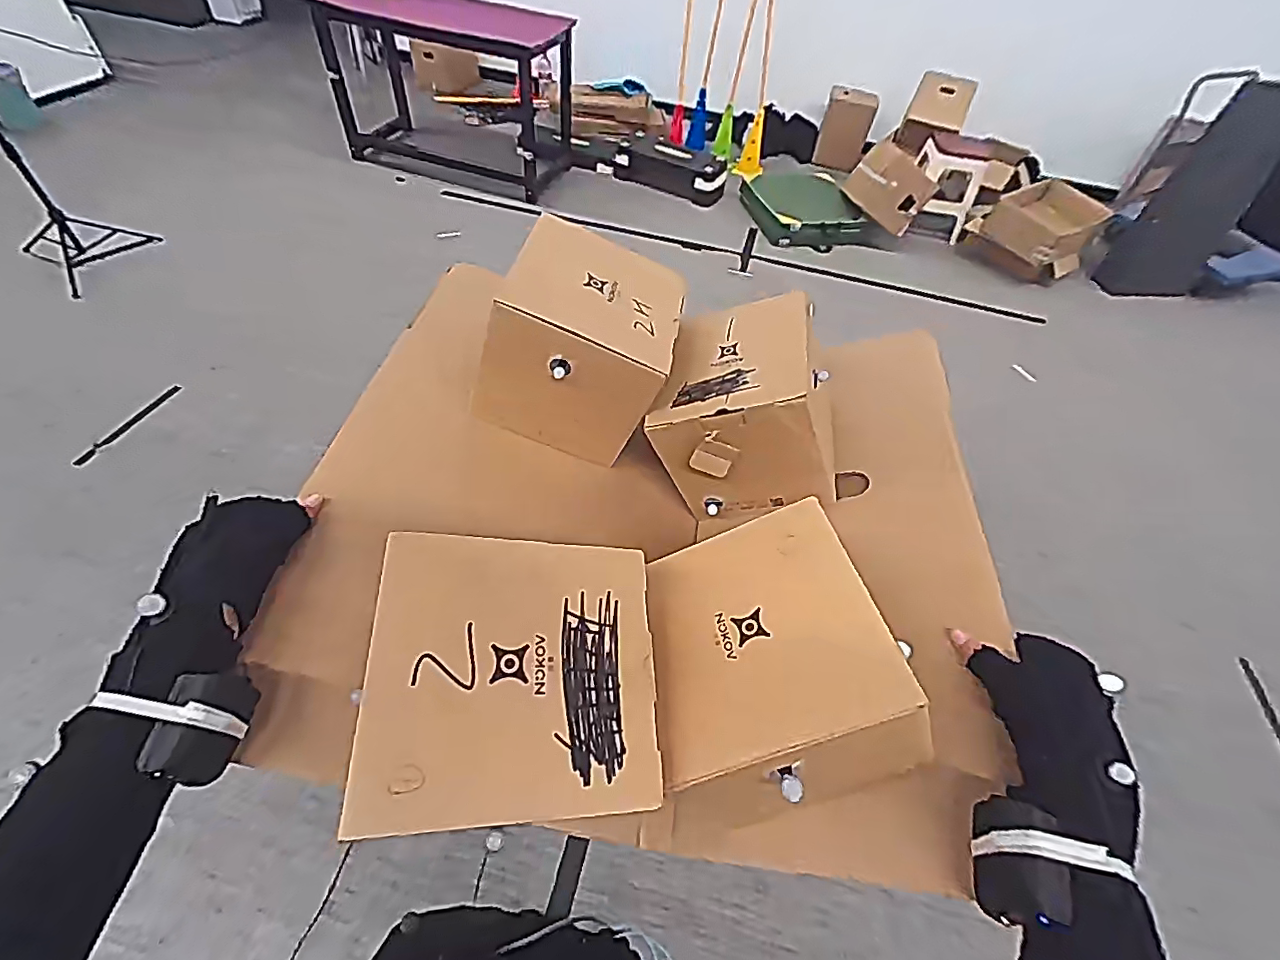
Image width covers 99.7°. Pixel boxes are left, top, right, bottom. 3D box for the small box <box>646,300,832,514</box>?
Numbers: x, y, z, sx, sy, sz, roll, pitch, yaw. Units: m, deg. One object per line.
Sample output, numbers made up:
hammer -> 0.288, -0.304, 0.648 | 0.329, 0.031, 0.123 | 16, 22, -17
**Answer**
small box -> 0.125, -0.073, 0.632 | 0.168, 0.176, 0.179 | -8, 47, 25
